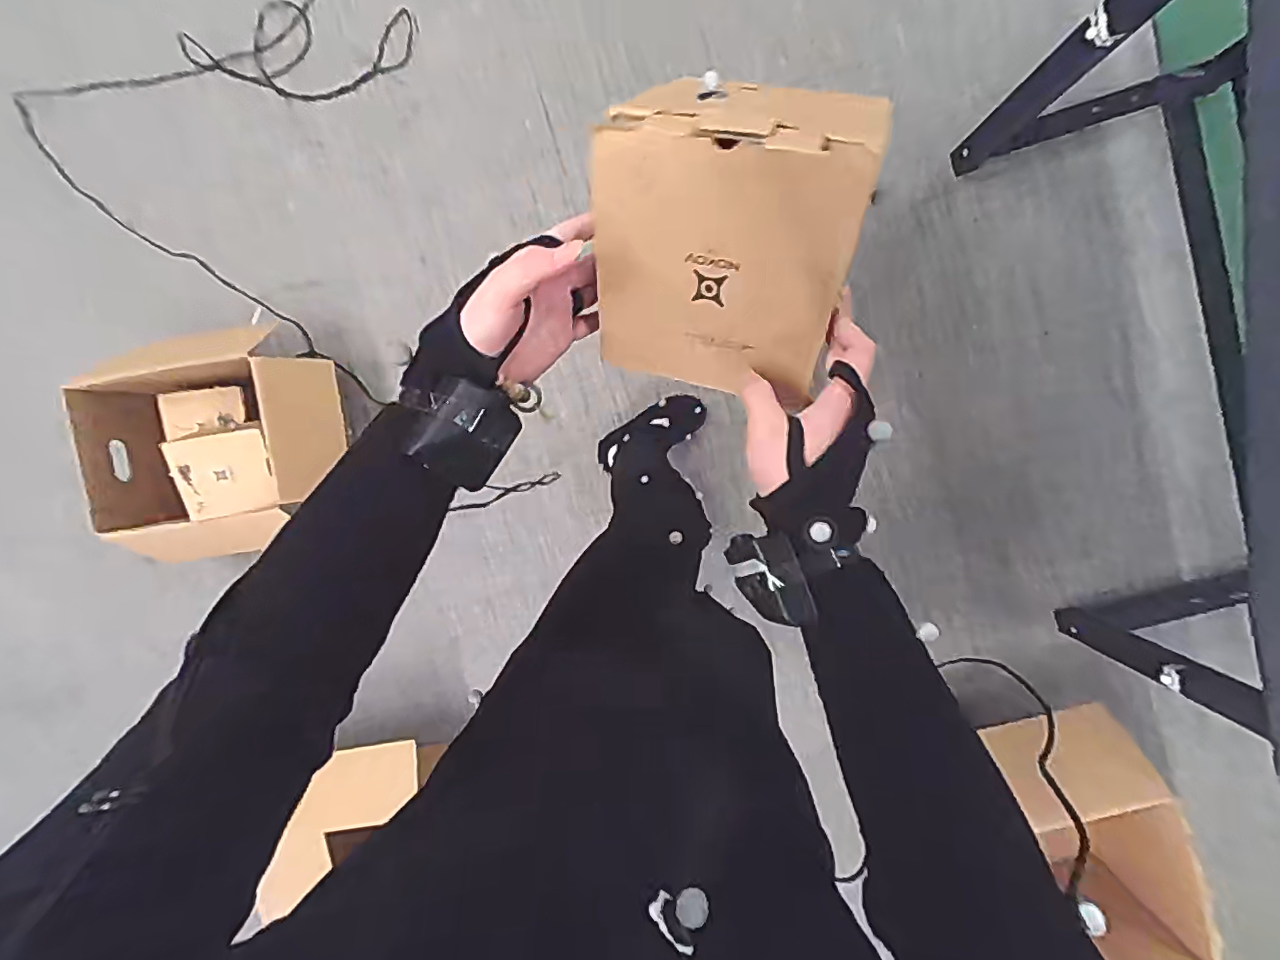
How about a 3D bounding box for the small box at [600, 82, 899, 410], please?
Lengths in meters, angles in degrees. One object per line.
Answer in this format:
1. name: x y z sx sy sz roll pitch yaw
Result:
1. small box: 0.079 -0.186 0.415 0.168 0.176 0.179 17 133 11
